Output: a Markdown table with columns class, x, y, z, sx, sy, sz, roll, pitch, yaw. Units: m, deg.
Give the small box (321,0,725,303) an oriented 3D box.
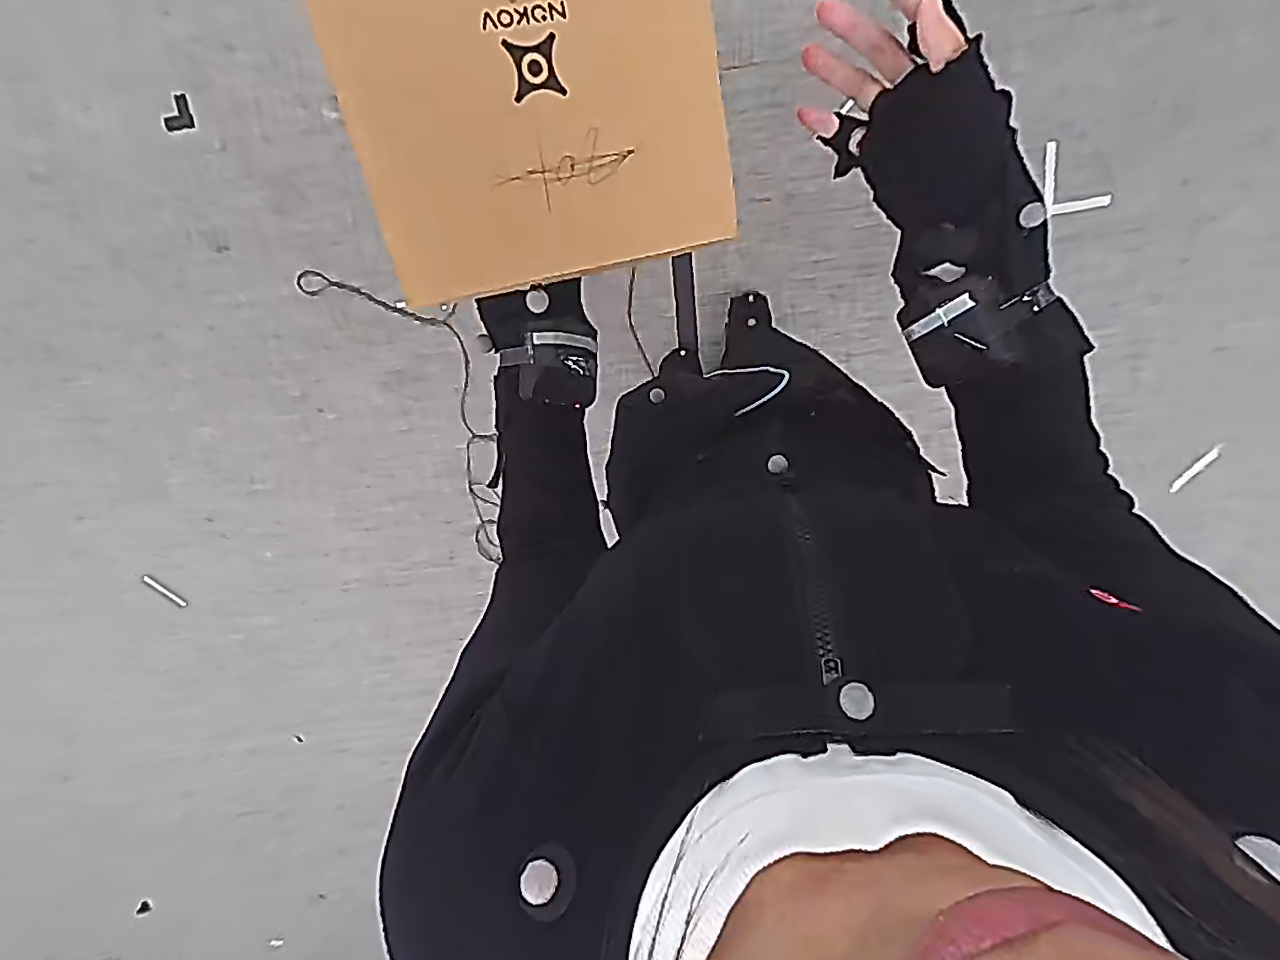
| class | x | y | z | sx | sy | sz | roll | pitch | yaw |
| --- | --- | --- | --- | --- | --- | --- | --- | --- | --- |
| small box | -0.066 | -0.209 | 0.319 | 0.168 | 0.176 | 0.179 | -15 | 110 | -8 |
